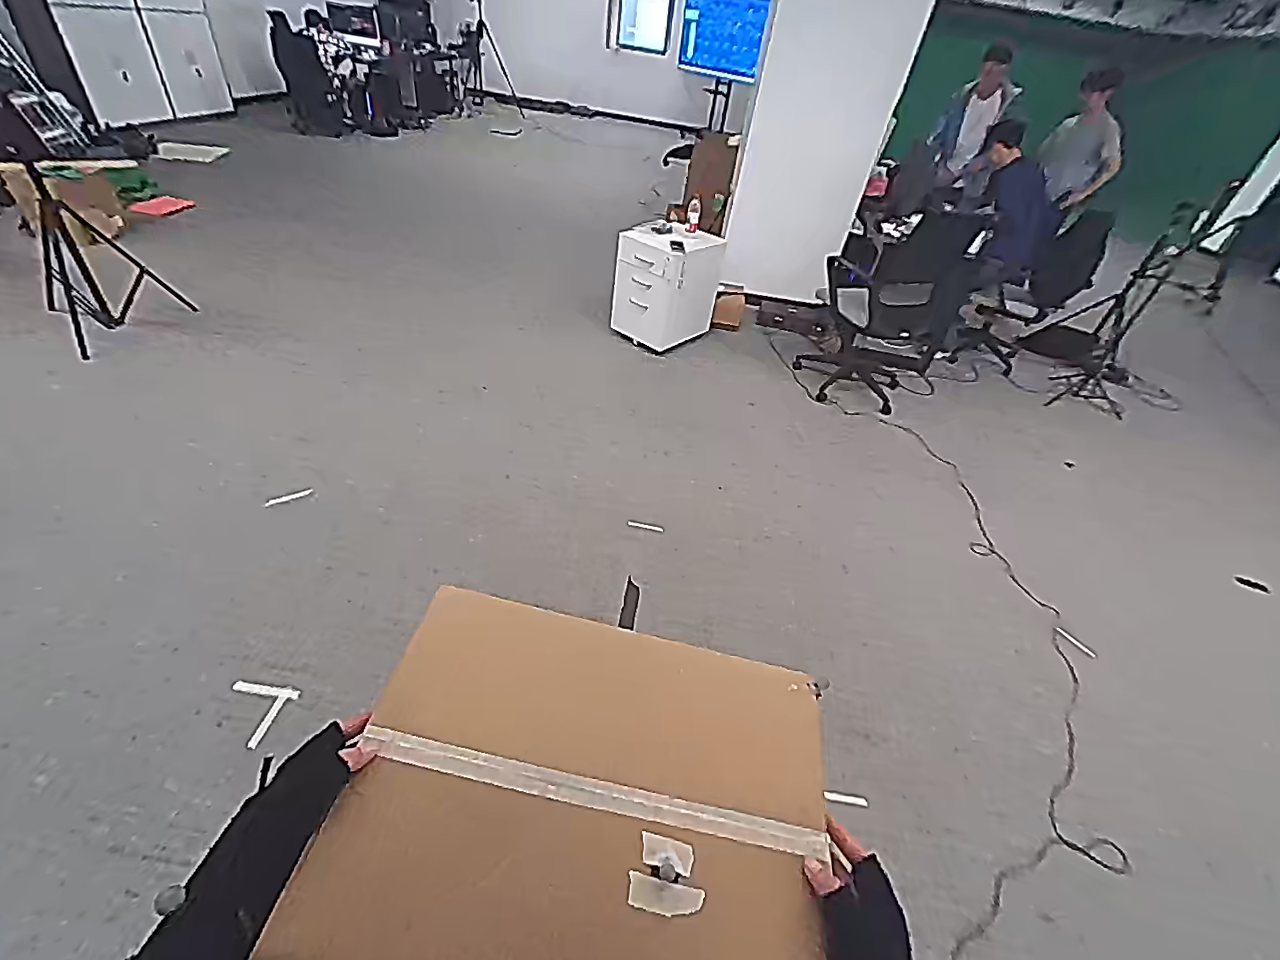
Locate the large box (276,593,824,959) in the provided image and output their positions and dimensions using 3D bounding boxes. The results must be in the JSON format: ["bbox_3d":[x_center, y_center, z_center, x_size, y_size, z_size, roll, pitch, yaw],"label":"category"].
[{"bbox_3d":[-0.065,0.369,0.580,0.408,0.320,0.320,14,46,-1],"label":"large box"}]
